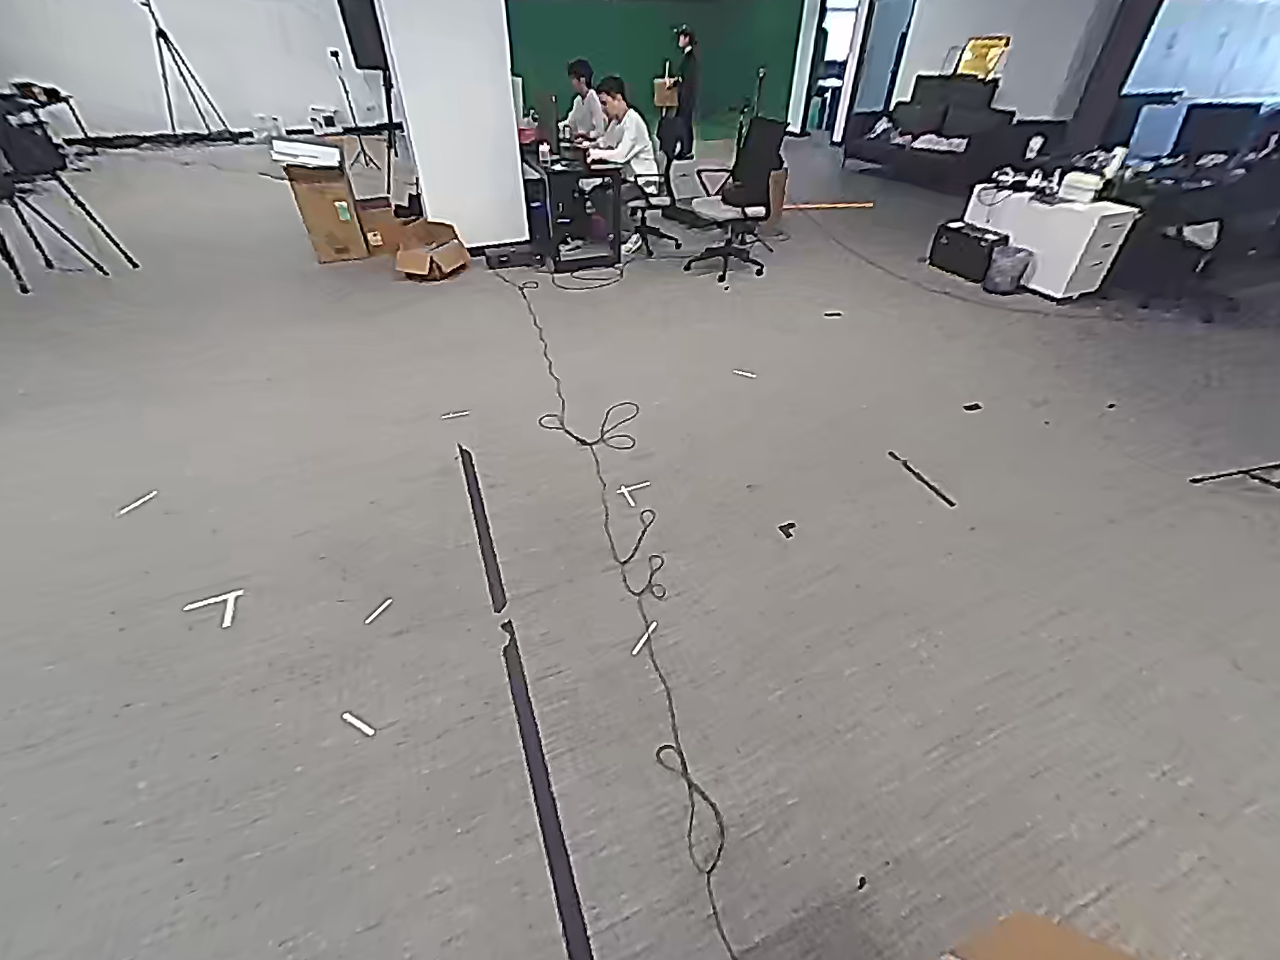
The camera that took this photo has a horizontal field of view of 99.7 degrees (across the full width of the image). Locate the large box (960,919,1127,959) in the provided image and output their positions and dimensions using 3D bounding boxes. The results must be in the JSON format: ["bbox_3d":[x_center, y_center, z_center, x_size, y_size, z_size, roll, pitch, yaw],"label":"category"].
[{"bbox_3d":[0.544,0.772,0.569,0.320,0.408,0.320,-16,71,-16],"label":"large box"}]
